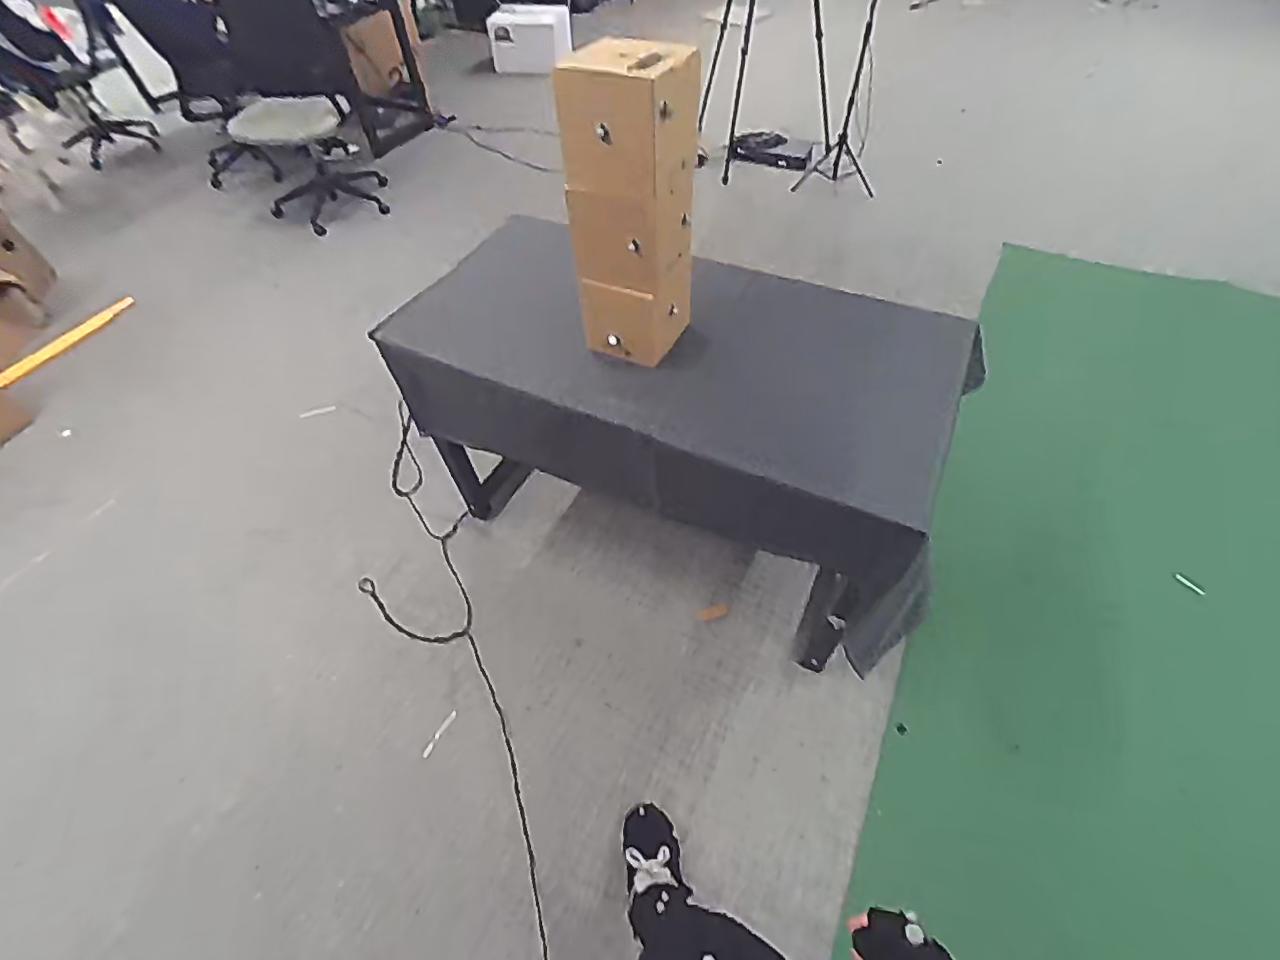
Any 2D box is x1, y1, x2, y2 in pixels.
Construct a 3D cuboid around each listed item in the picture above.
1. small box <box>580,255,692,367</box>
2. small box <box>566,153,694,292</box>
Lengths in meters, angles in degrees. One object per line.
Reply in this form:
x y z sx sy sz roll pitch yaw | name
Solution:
-0.005 -0.368 1.125 0.168 0.176 0.179 22 56 19 | small box
-0.012 -0.473 1.001 0.179 0.176 0.168 20 54 17 | small box
